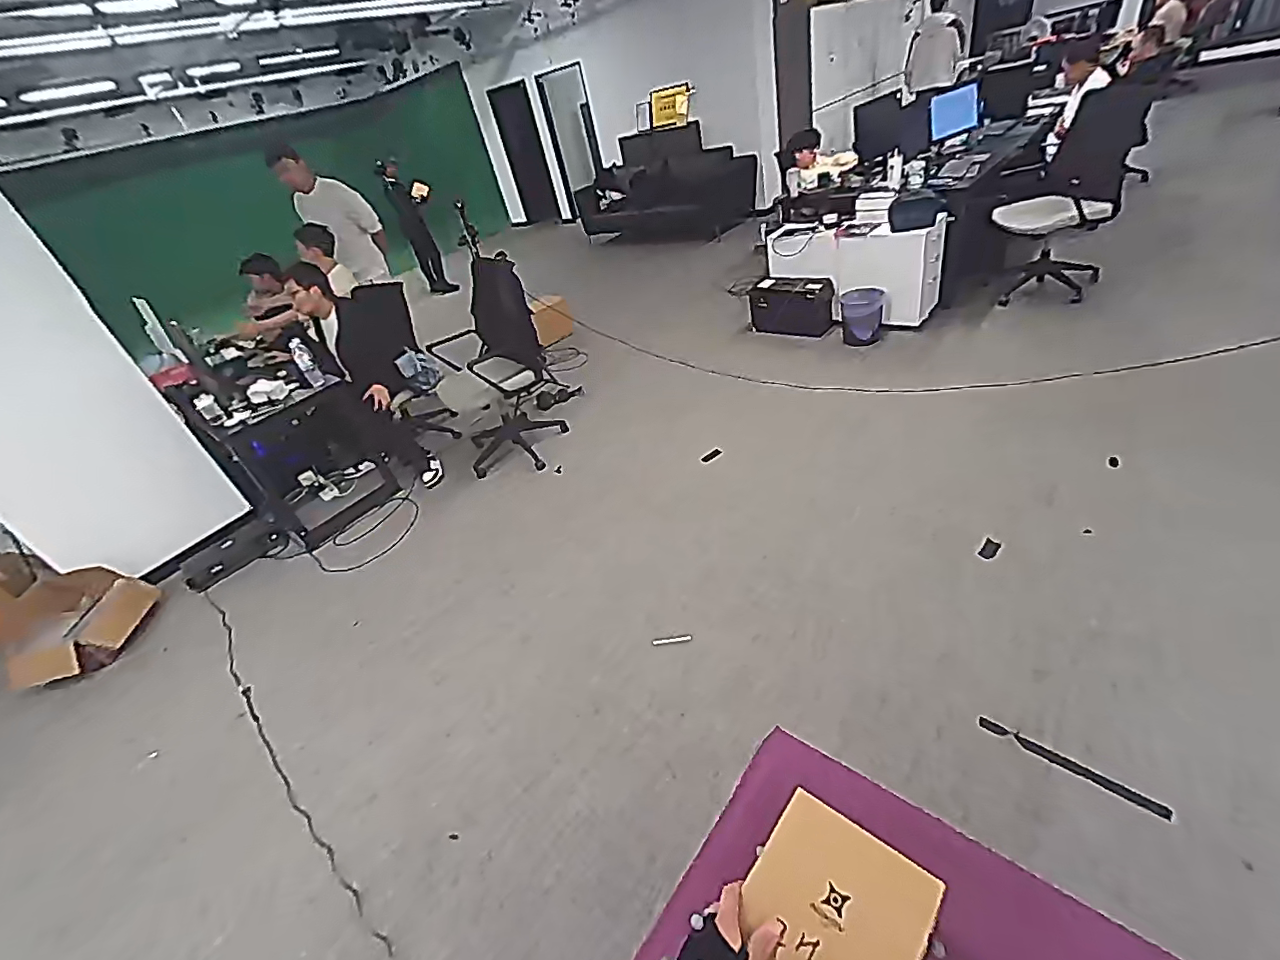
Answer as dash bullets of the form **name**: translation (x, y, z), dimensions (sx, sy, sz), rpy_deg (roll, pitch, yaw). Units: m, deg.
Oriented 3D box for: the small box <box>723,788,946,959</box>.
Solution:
- **small box**: translation (0.214, 0.501, 0.603), dimensions (0.168, 0.176, 0.179), rpy_deg (20, 48, 39)
